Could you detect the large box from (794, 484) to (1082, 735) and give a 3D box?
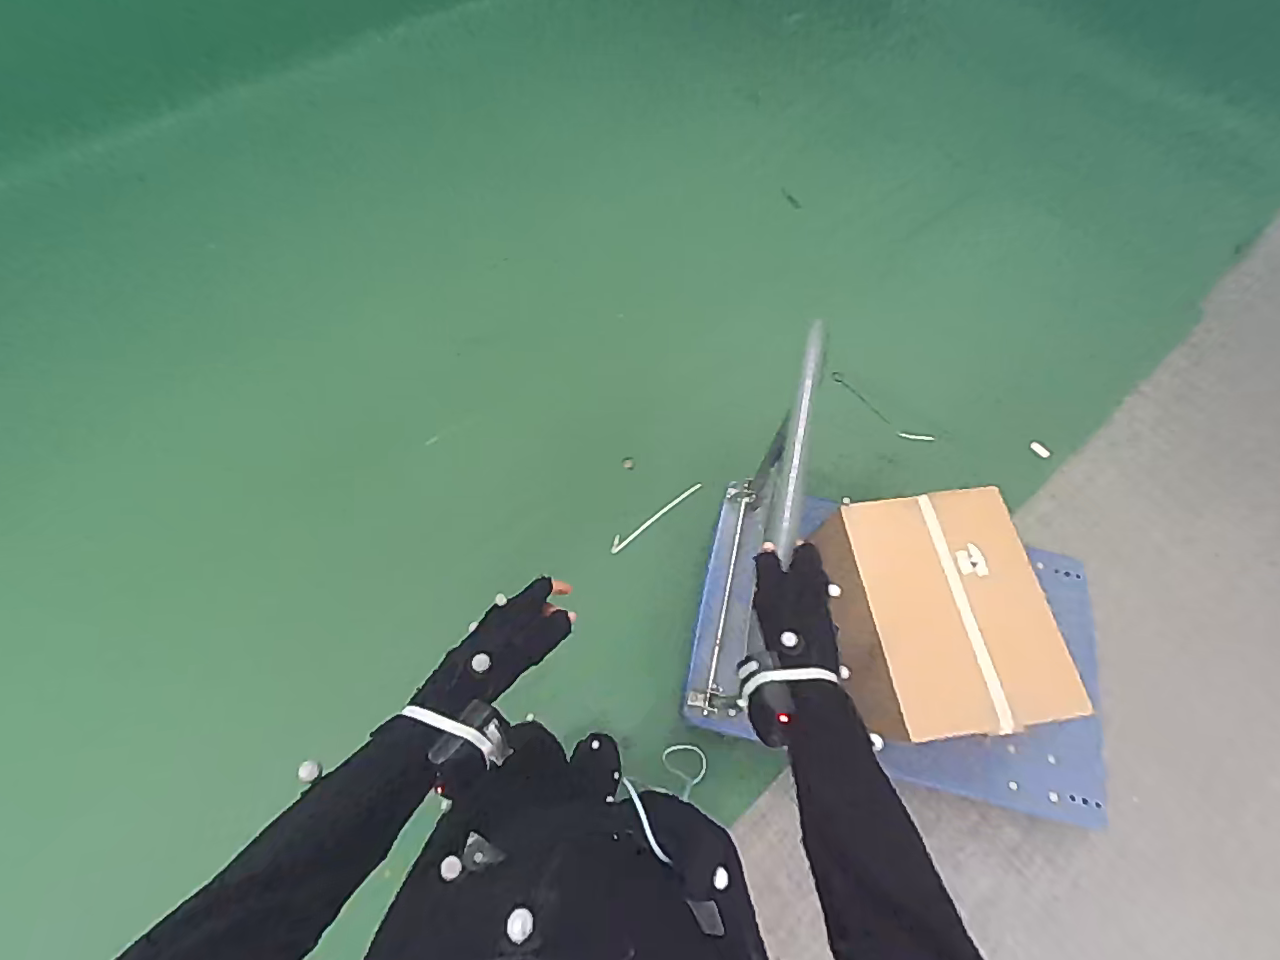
[{"bbox_3d":[0.540,0.266,1.082,0.320,0.320,0.408,-7,65,-5],"label":"large box"}]
